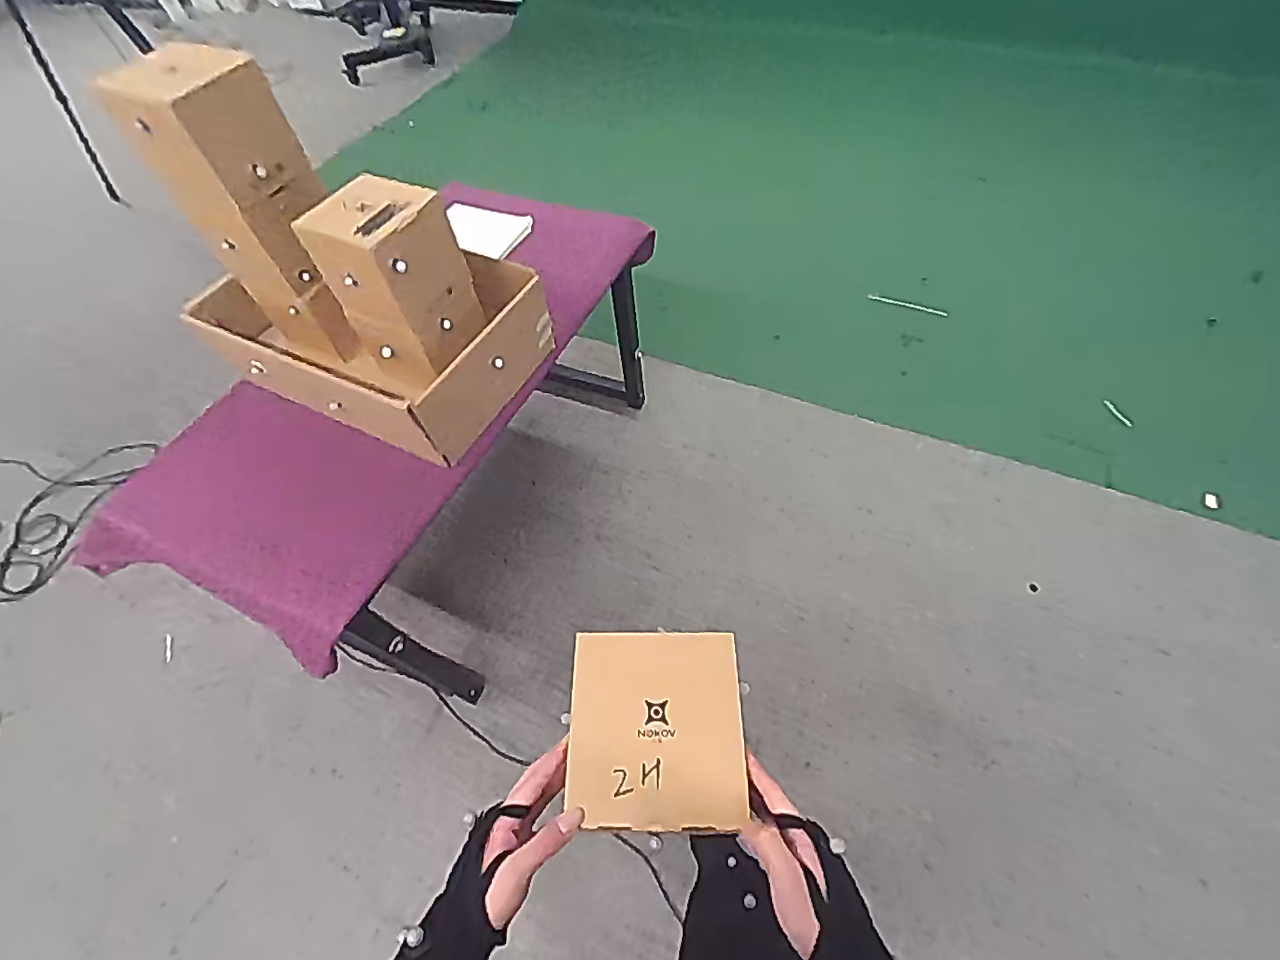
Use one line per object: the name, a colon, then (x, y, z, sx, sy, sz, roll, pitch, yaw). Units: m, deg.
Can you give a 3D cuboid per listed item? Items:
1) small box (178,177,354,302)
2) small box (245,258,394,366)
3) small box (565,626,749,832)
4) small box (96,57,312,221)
small box: (-0.687, -0.462, 1.018, 0.179, 0.176, 0.168, 19, 59, 16)
small box: (-0.672, -0.369, 1.153, 0.179, 0.176, 0.168, 20, 60, 15)
small box: (0.018, 0.271, 0.585, 0.168, 0.176, 0.179, 0, 56, 2)
small box: (-0.693, -0.553, 0.883, 0.179, 0.176, 0.168, 20, 60, 15)
